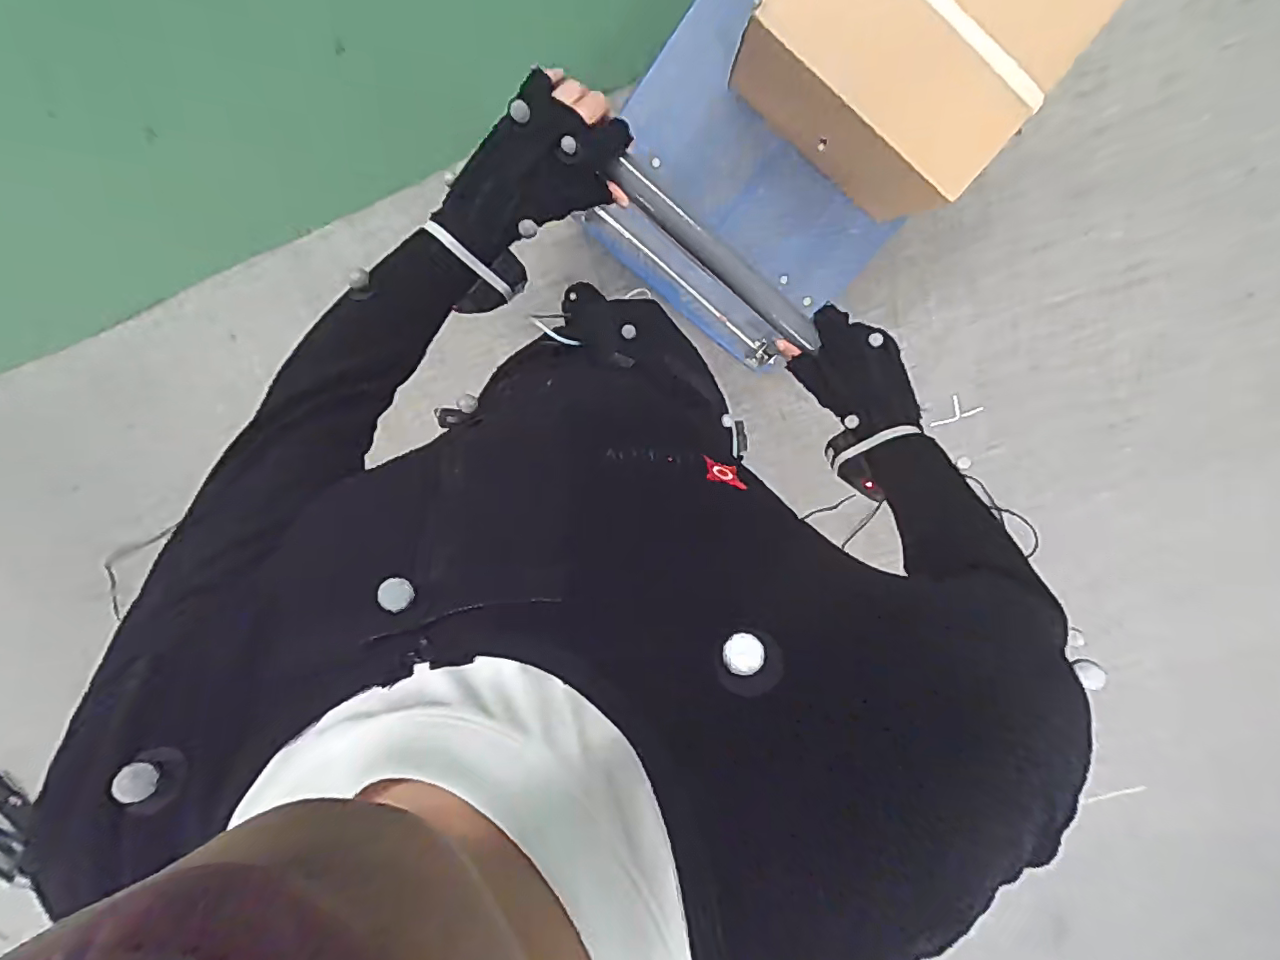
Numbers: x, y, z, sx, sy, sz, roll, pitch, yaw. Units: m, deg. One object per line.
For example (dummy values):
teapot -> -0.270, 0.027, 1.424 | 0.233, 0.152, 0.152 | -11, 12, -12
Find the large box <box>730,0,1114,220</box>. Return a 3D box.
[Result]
large box -> 0.406, -0.696, 0.885 | 0.408, 0.320, 0.320 | 36, 107, -9
